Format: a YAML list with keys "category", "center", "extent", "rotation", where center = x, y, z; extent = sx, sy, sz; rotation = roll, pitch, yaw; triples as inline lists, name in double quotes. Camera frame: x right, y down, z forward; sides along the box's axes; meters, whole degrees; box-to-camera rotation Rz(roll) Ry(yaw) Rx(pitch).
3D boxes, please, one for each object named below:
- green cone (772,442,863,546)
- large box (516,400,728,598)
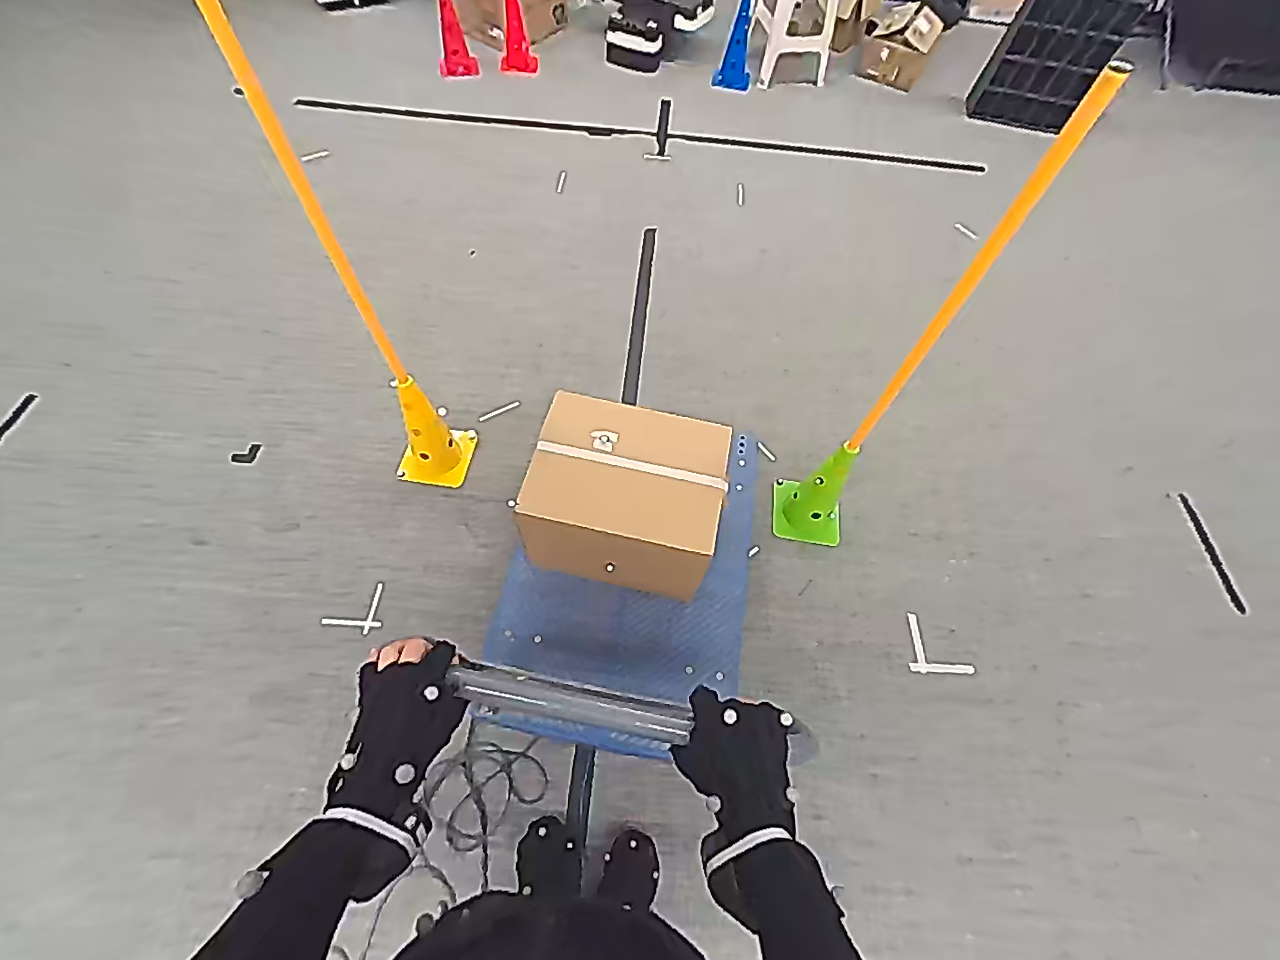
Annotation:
- category: "green cone"
  center: [0.518, 0.013, 1.501]
  extent: [0.202, 0.368, 0.200]
  rotation: [10, 60, 0]
- category: "large box"
  center: [-0.031, 0.057, 1.274]
  extent: [0.408, 0.320, 0.320]
  rotation: [12, 61, 4]
